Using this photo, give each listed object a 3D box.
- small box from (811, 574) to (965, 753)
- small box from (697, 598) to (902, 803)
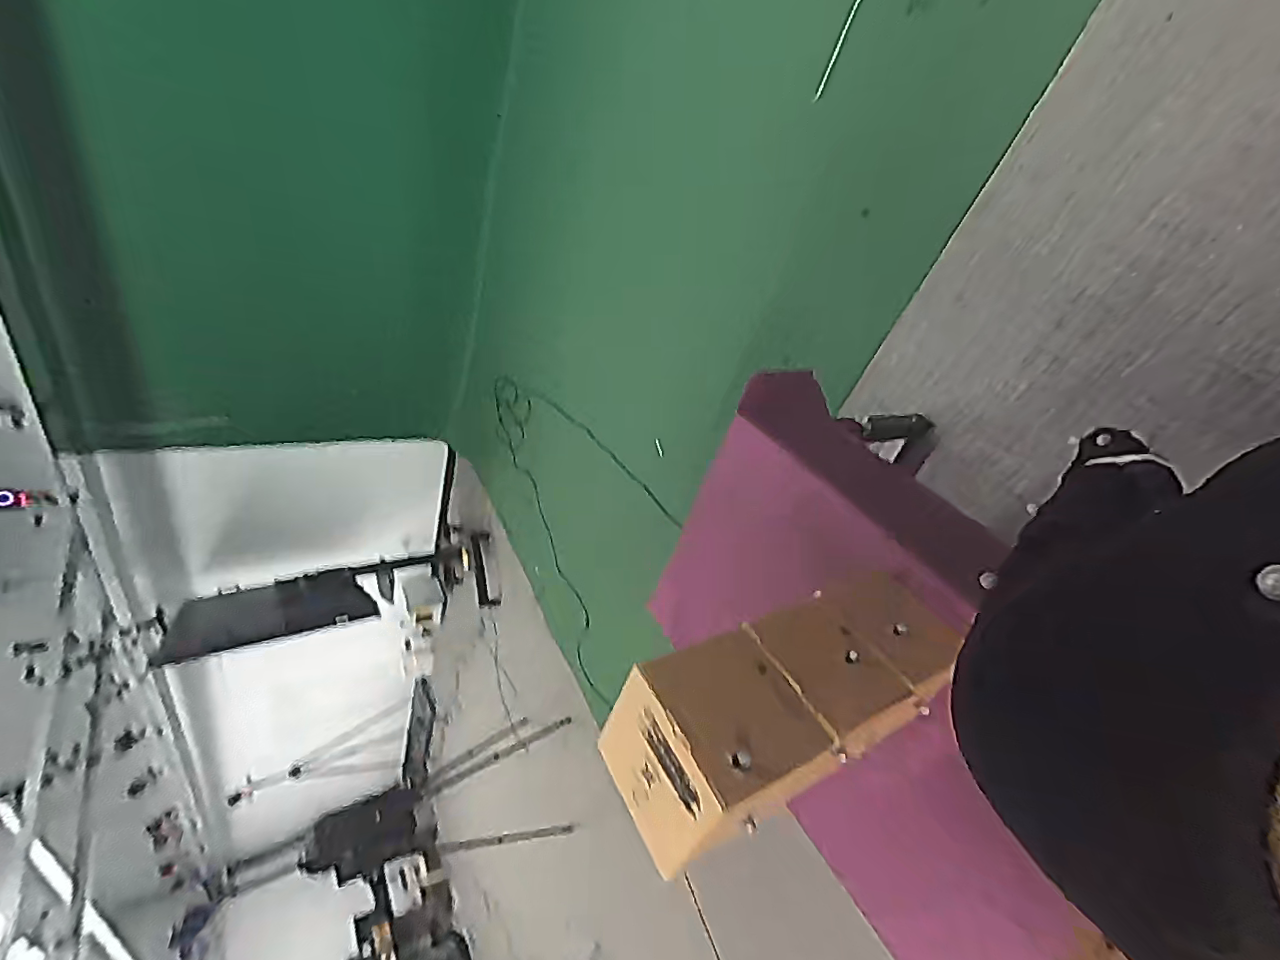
[{"bbox_3d":[0.345,0.266,0.821,0.179,0.176,0.168,48,131,39],"label":"small box"},{"bbox_3d":[0.212,0.287,0.729,0.168,0.176,0.179,51,132,38],"label":"small box"}]
